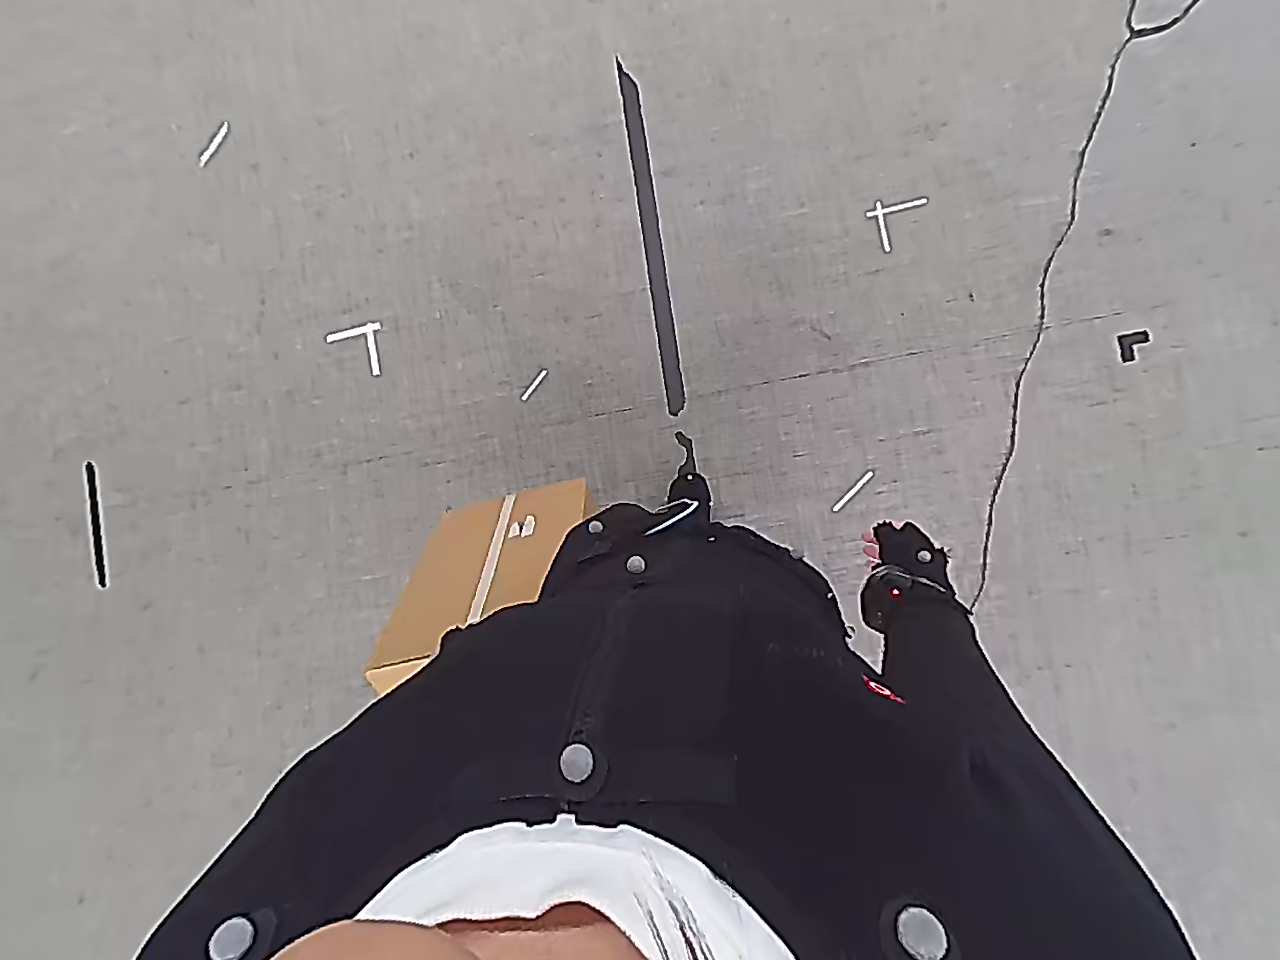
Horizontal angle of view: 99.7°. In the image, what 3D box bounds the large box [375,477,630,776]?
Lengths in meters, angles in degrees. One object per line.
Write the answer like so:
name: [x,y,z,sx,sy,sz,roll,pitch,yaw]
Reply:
large box: [-0.210,0.252,1.004,0.320,0.408,0.320,-13,120,5]
